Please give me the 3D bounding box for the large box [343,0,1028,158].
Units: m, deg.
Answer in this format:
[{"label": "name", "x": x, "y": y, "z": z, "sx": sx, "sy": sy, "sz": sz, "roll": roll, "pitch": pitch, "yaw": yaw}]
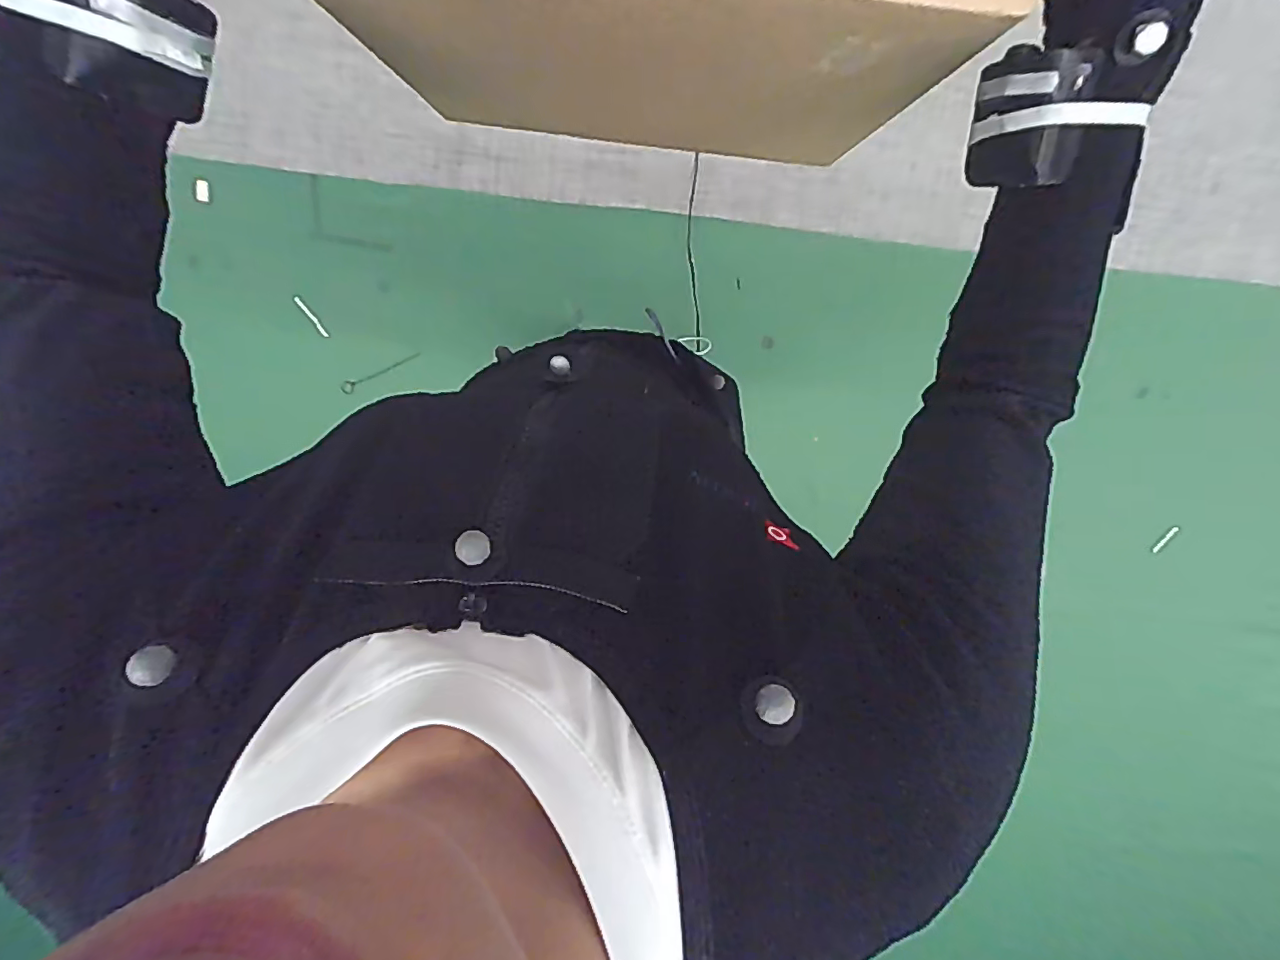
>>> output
[{"label": "large box", "x": 0.018, "y": -0.450, "z": 0.375, "sx": 0.408, "sy": 0.320, "sz": 0.320, "roll": 5, "pitch": 109, "yaw": -2}]
